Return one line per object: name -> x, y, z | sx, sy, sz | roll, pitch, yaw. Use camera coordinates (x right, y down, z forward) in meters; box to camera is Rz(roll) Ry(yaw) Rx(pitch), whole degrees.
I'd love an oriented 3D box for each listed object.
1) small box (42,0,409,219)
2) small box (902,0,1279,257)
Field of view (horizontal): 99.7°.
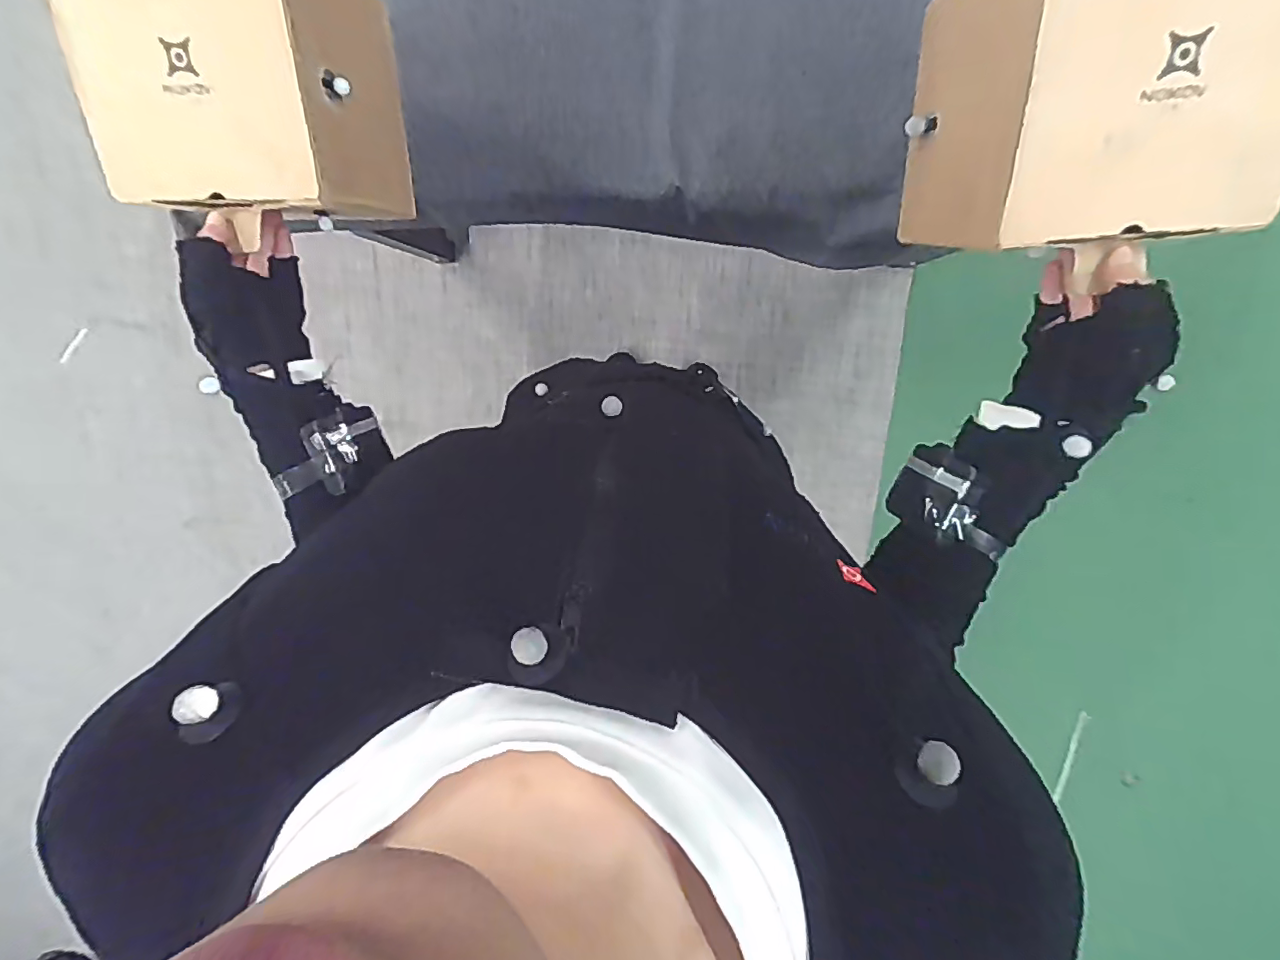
small box -> -0.312, -0.316, 0.445 | 0.168, 0.176, 0.179 | 0, 112, 2
small box -> 0.306, -0.263, 0.381 | 0.168, 0.176, 0.179 | -3, 116, 3
